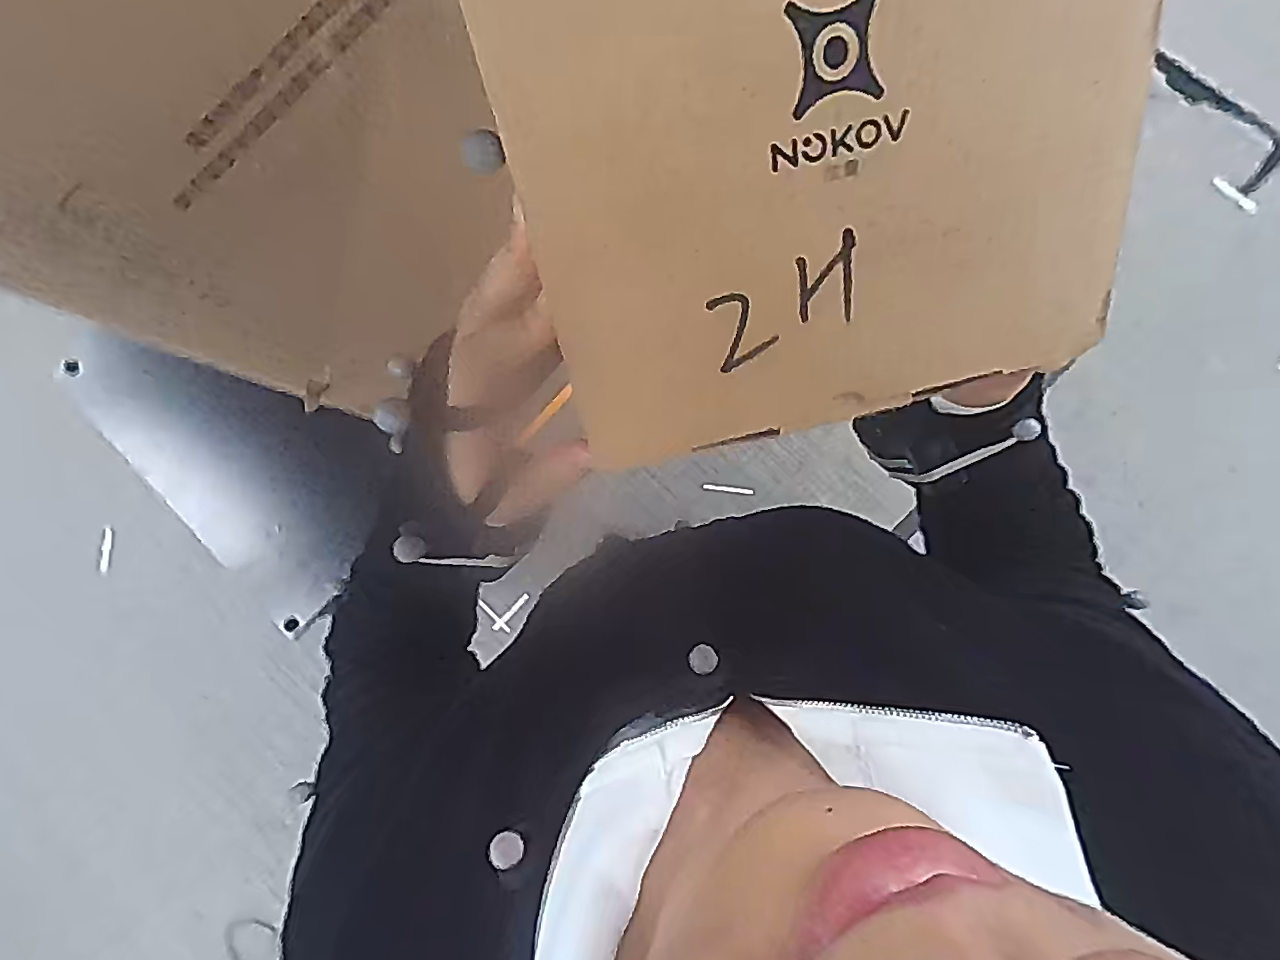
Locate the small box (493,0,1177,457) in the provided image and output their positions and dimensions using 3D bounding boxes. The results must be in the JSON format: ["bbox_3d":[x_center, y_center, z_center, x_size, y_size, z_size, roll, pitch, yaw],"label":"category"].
[{"bbox_3d":[0.044,-0.134,0.206,0.168,0.176,0.179,-13,117,1],"label":"small box"}]
